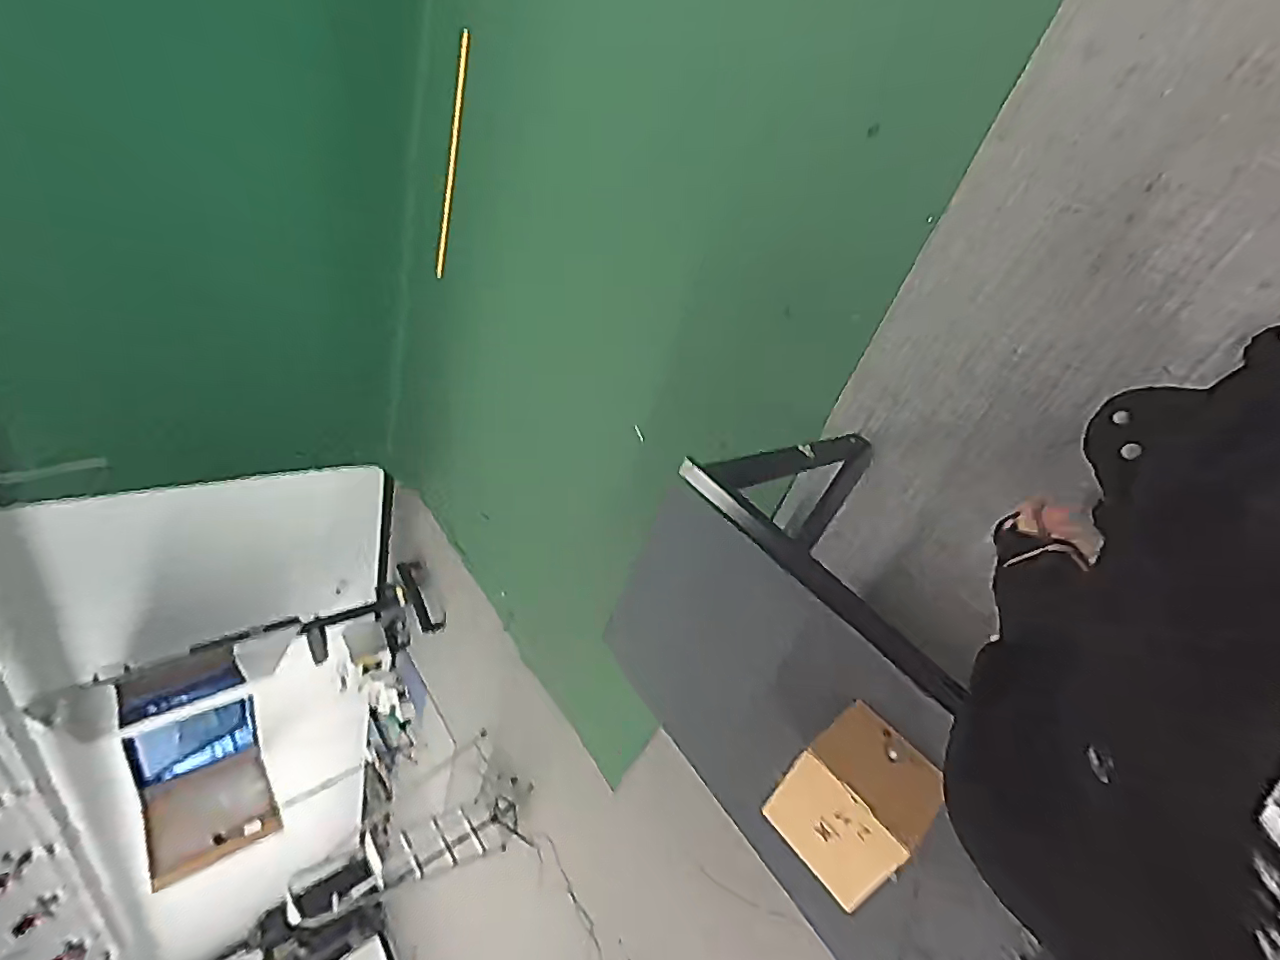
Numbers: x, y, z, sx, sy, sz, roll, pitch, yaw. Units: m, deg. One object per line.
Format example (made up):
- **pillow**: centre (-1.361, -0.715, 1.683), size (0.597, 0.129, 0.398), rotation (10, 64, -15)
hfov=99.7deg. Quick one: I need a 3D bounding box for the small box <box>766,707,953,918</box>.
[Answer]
- **small box**: centre (0.325, 0.482, 0.803), size (0.168, 0.176, 0.179), rotation (40, 126, 35)
